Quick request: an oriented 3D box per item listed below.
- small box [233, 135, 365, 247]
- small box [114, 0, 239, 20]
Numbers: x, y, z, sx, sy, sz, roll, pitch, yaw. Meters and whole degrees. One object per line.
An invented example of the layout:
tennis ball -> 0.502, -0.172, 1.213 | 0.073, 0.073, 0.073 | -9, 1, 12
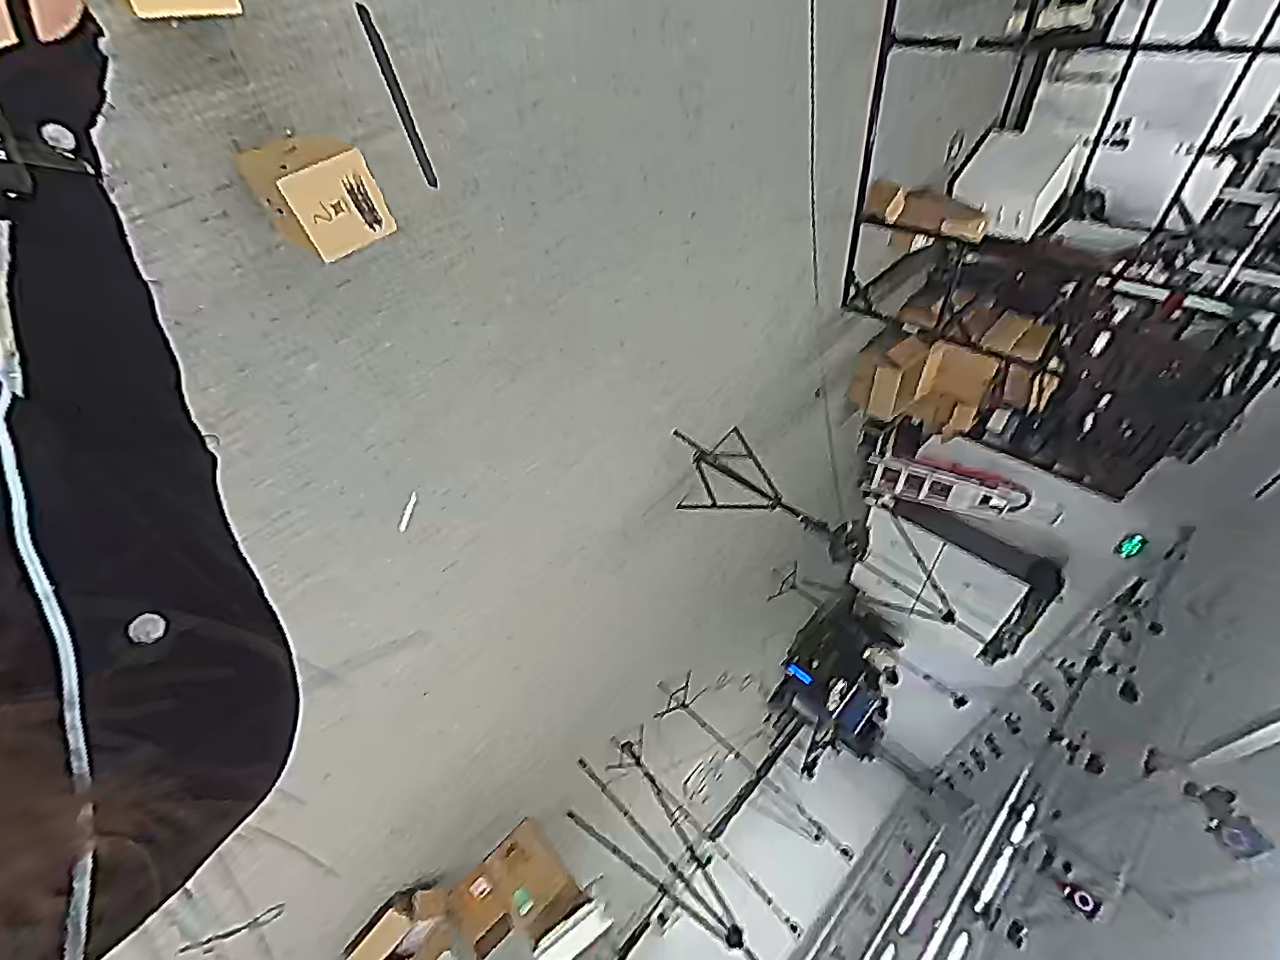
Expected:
small box -> -0.779, -0.667, 1.237 | 0.168, 0.176, 0.179 | -40, 144, -22
small box -> -0.848, -0.920, 0.939 | 0.168, 0.176, 0.179 | -34, 140, -30
